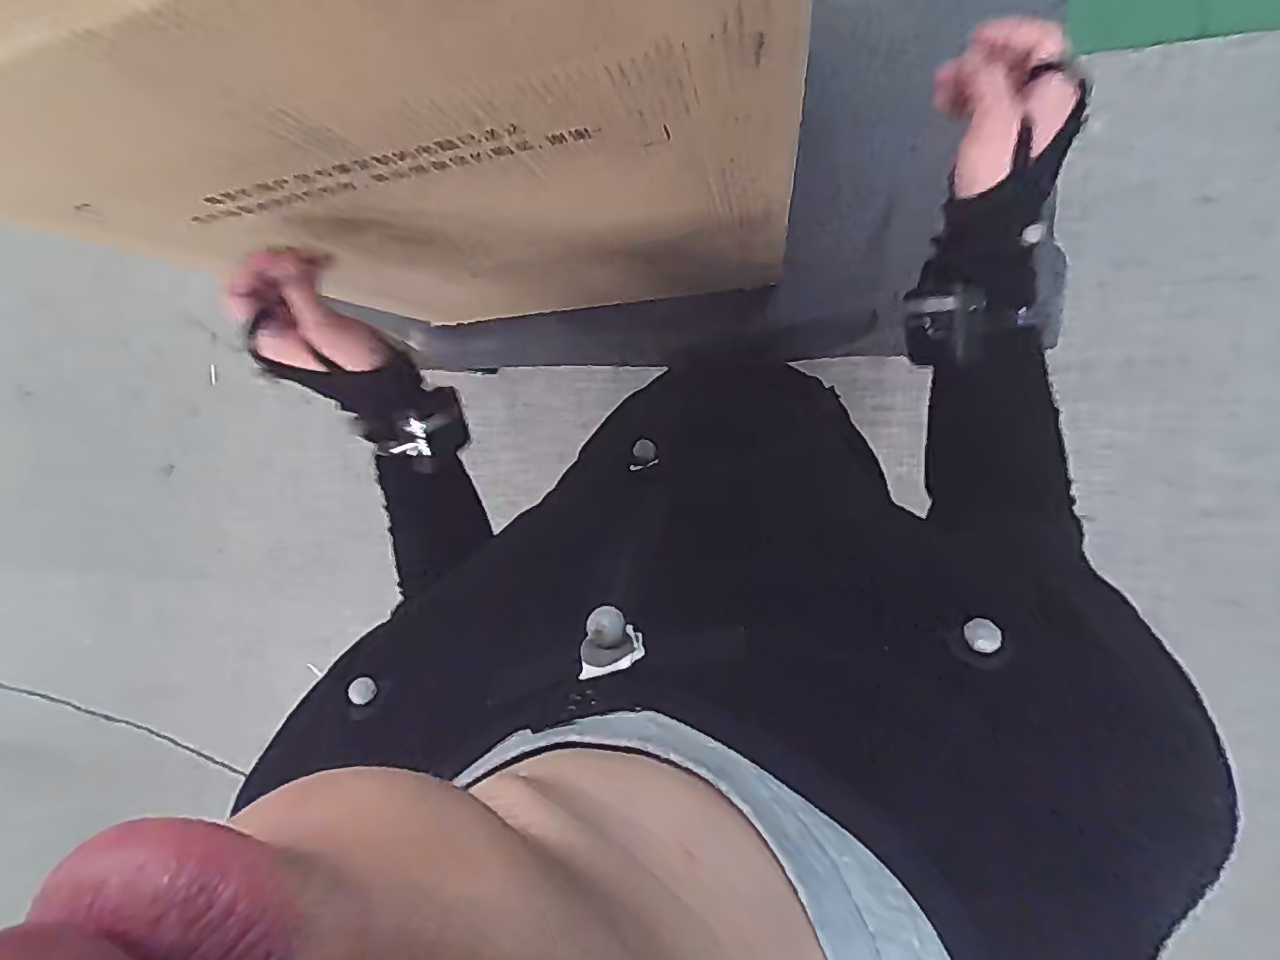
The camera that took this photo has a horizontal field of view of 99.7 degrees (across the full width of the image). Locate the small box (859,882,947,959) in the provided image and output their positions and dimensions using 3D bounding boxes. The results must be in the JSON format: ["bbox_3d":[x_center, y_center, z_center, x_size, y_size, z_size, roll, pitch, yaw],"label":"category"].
[{"bbox_3d":[0.737,1.294,1.533,0.179,0.176,0.168,9,99,13],"label":"small box"}]
